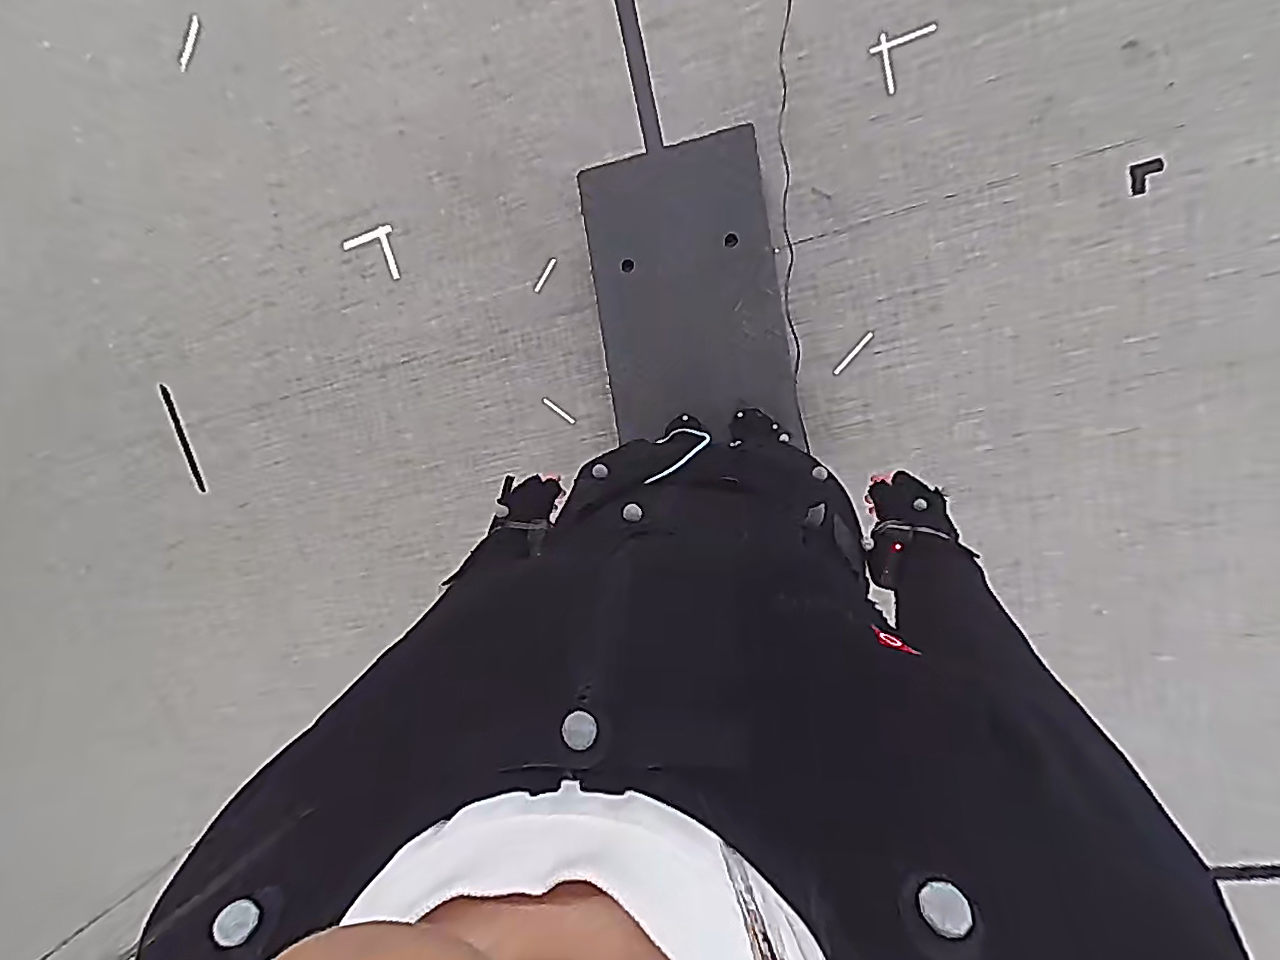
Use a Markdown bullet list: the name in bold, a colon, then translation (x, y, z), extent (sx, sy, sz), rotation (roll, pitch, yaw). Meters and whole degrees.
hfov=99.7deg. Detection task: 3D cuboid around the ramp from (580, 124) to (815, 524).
- **ramp**: translation (0.139, -0.404, 1.455), extent (0.509, 0.206, 0.991), rotation (-11, 98, 13)
